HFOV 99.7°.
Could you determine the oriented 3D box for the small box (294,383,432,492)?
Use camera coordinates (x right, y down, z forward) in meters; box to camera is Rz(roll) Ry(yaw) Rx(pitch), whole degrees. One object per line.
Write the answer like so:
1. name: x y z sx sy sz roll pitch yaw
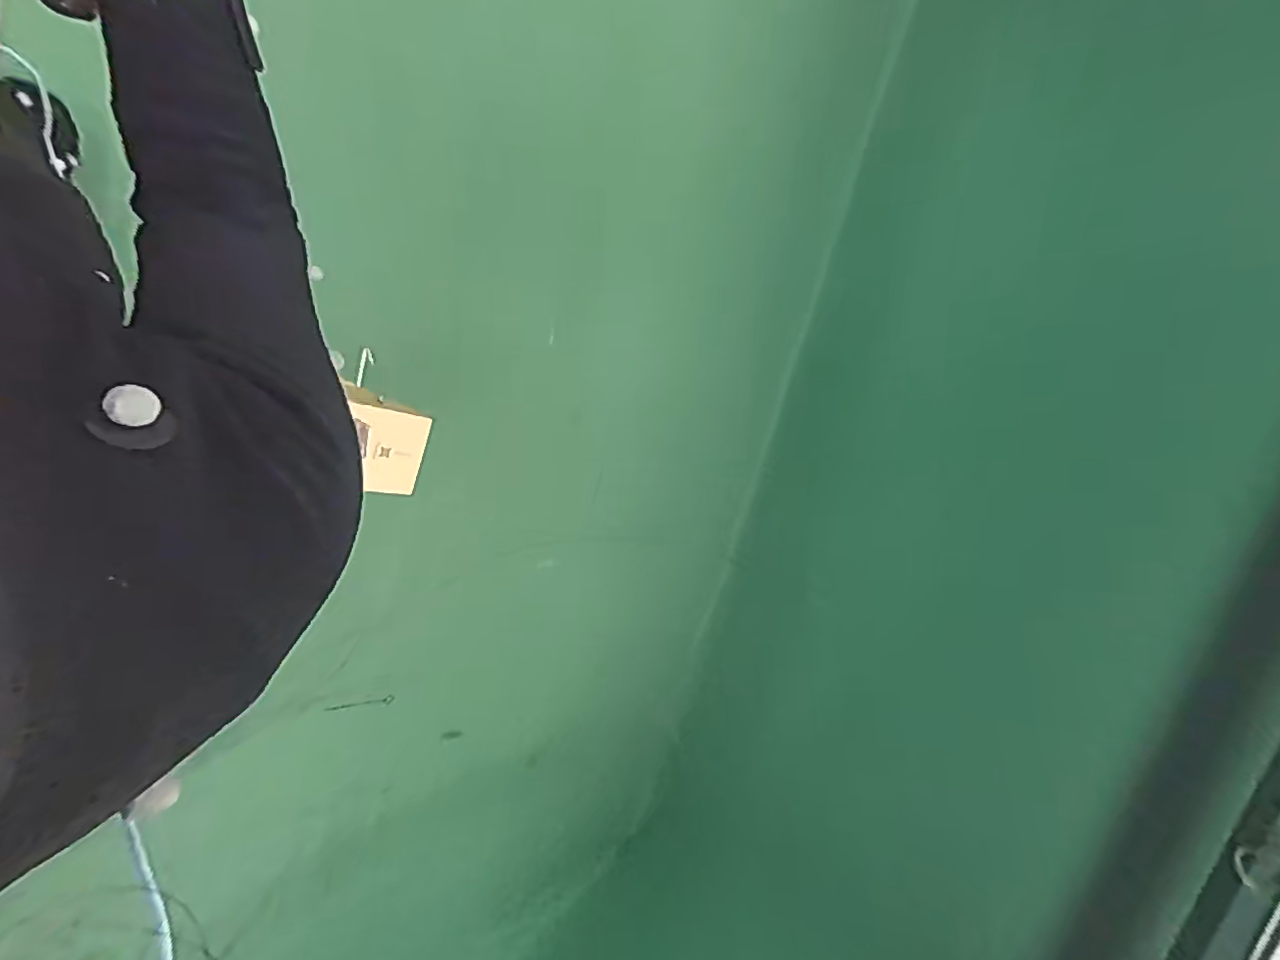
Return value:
1. small box: -0.557 -0.085 1.081 0.179 0.176 0.168 10 101 -54
